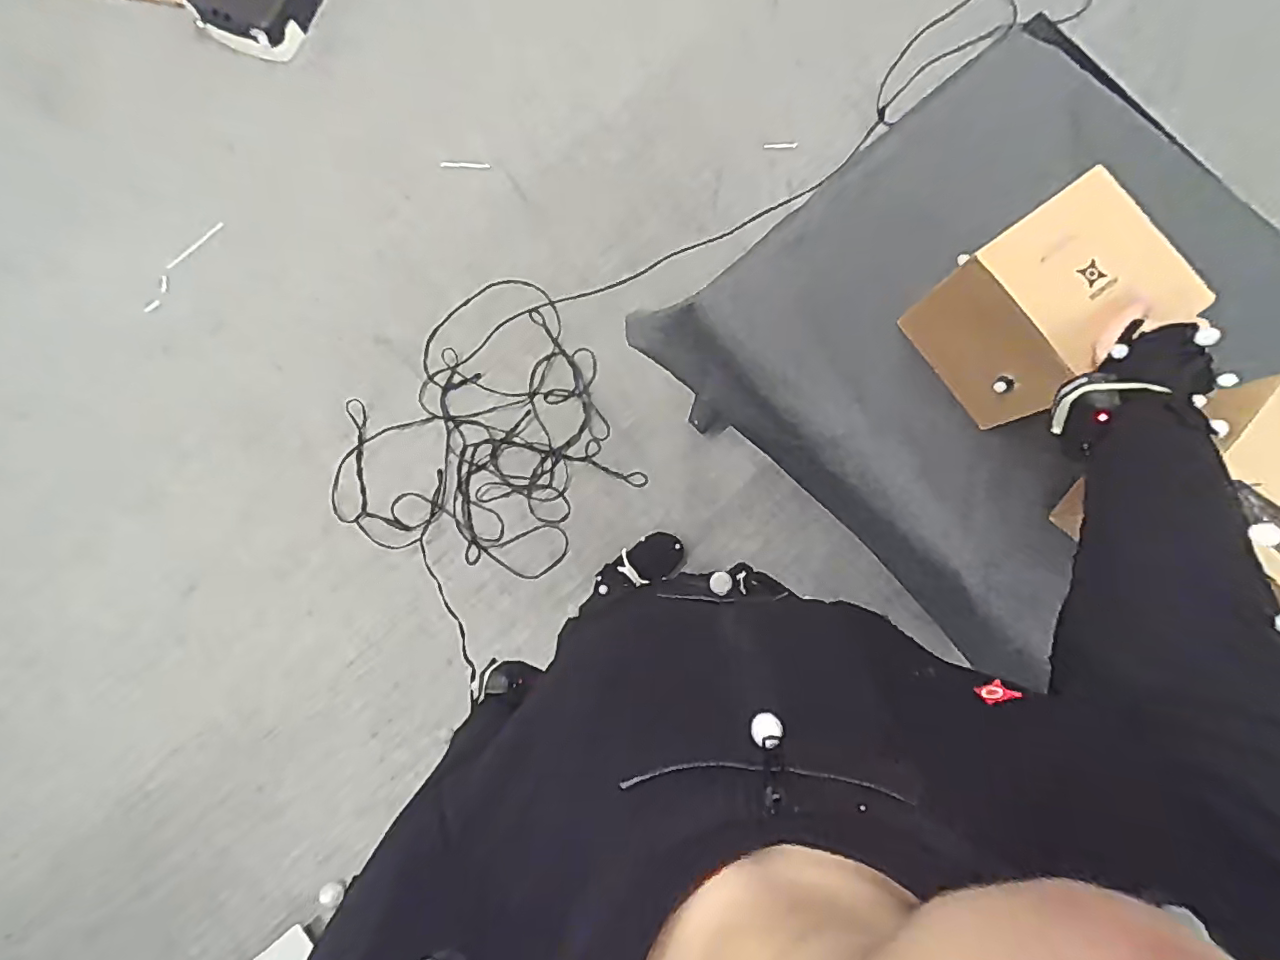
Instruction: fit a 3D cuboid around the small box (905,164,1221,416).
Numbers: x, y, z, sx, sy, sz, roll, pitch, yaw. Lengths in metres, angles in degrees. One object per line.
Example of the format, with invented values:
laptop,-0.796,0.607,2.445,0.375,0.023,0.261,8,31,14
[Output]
small box,0.442,-0.189,0.599,0.168,0.176,0.179,-36,83,-4
